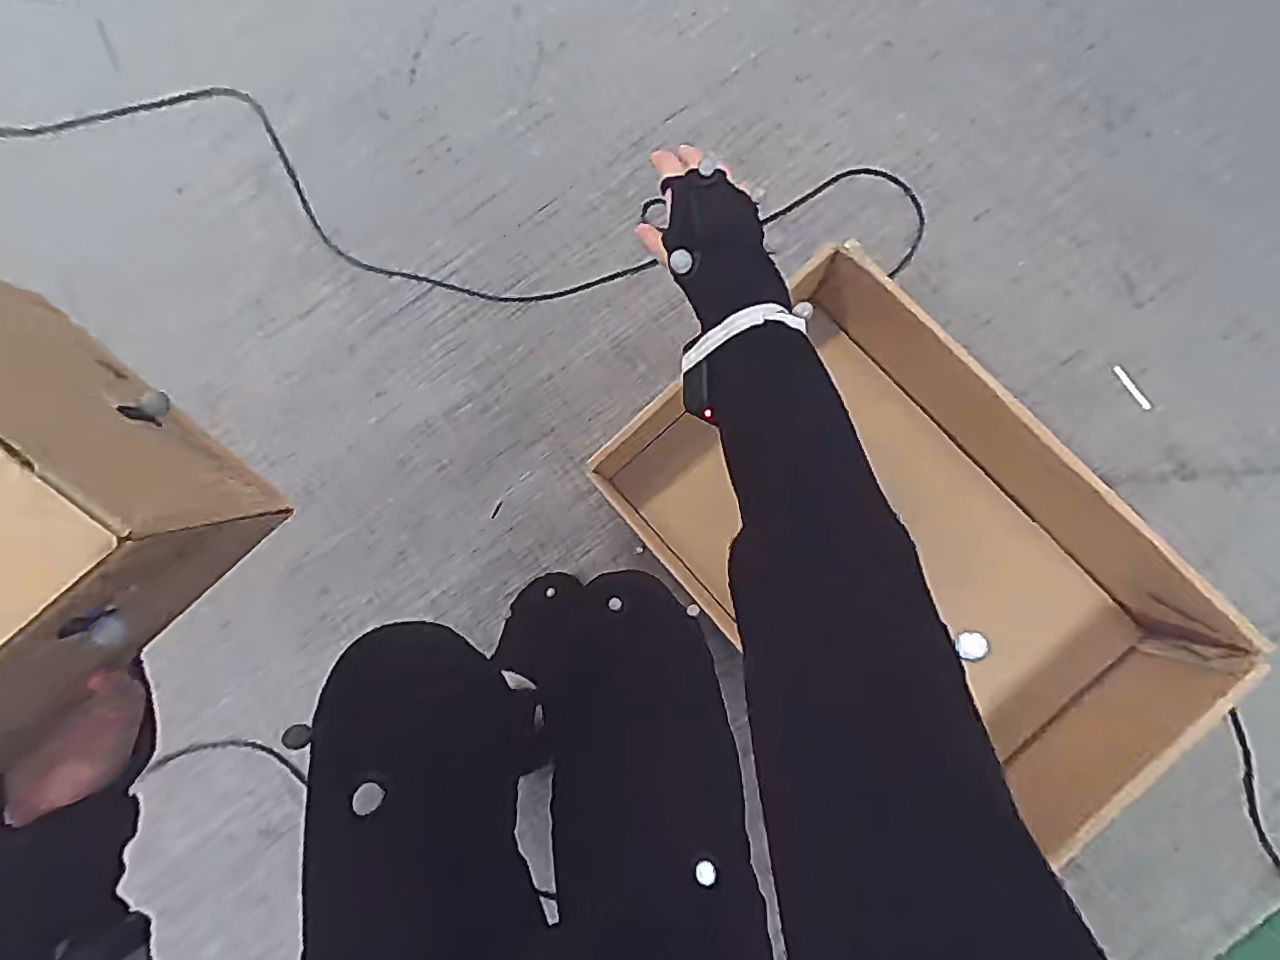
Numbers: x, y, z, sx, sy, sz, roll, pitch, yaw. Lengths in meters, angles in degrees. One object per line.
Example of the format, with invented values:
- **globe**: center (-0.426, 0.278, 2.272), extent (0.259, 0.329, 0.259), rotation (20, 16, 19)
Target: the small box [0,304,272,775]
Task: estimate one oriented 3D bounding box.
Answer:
- **small box**: center (-0.296, 0.030, 0.211), extent (0.168, 0.176, 0.179), rotation (45, 77, -12)
